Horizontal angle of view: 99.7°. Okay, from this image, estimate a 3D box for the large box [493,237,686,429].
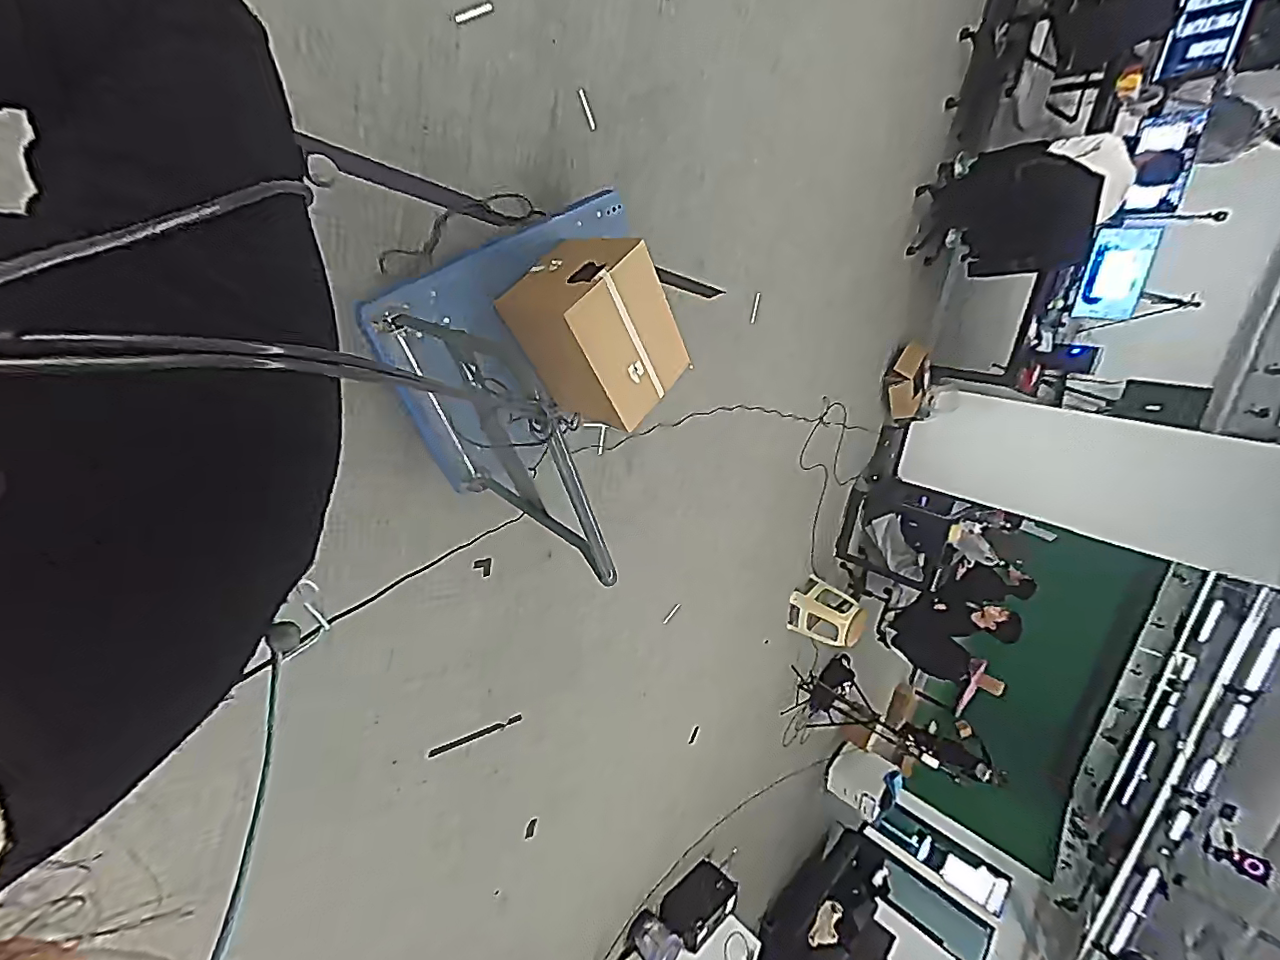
[{"bbox_3d":[-0.130,-0.414,1.519,0.320,0.320,0.408,-49,137,-20],"label":"large box"}]
